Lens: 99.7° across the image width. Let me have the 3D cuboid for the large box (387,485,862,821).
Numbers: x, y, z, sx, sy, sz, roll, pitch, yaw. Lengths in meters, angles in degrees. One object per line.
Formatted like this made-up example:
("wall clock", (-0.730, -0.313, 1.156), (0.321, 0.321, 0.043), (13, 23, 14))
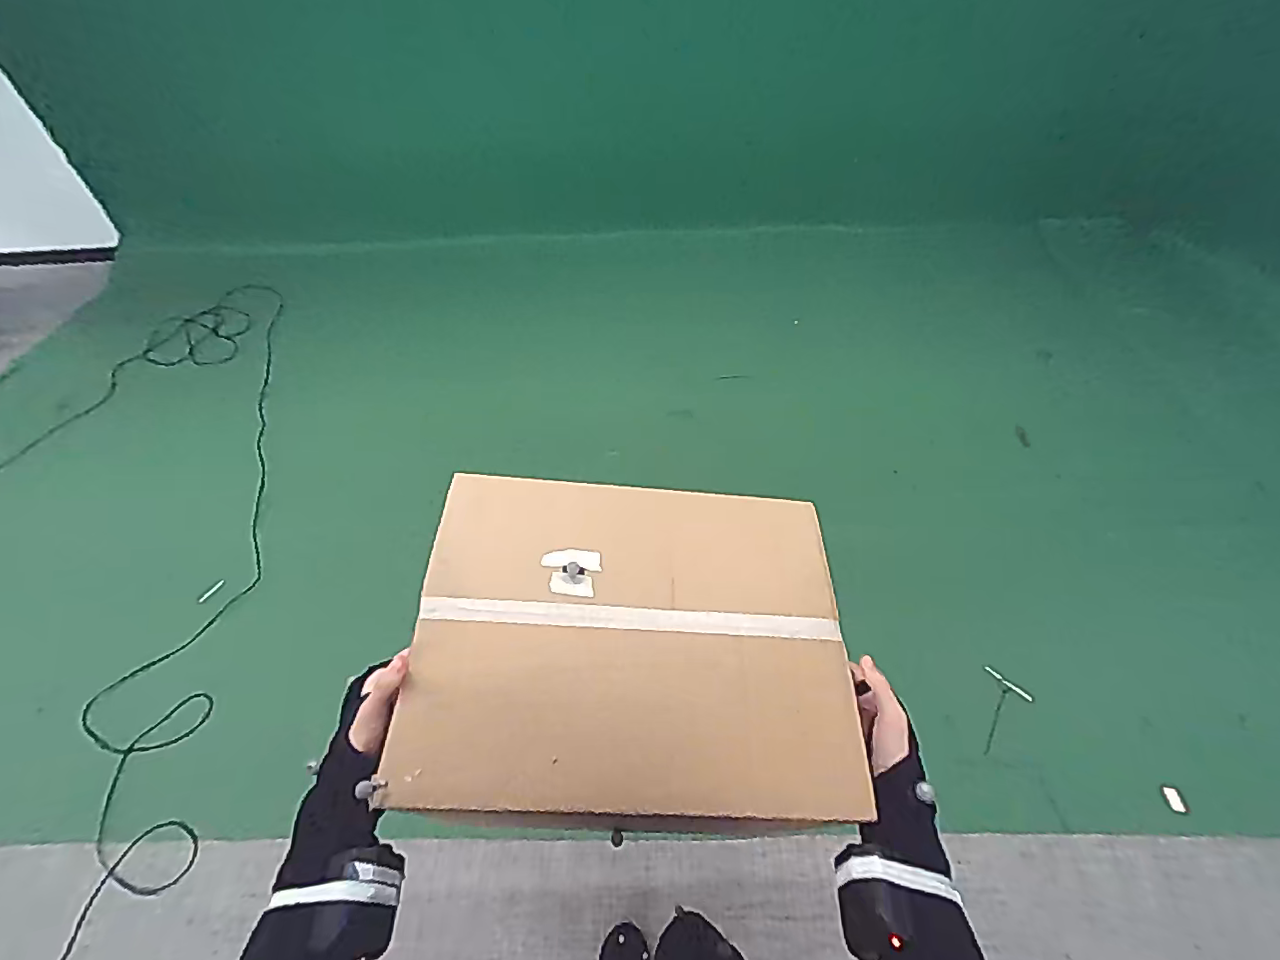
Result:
("large box", (-0.017, 0.225, 0.651), (0.408, 0.320, 0.320), (4, 55, -4))
